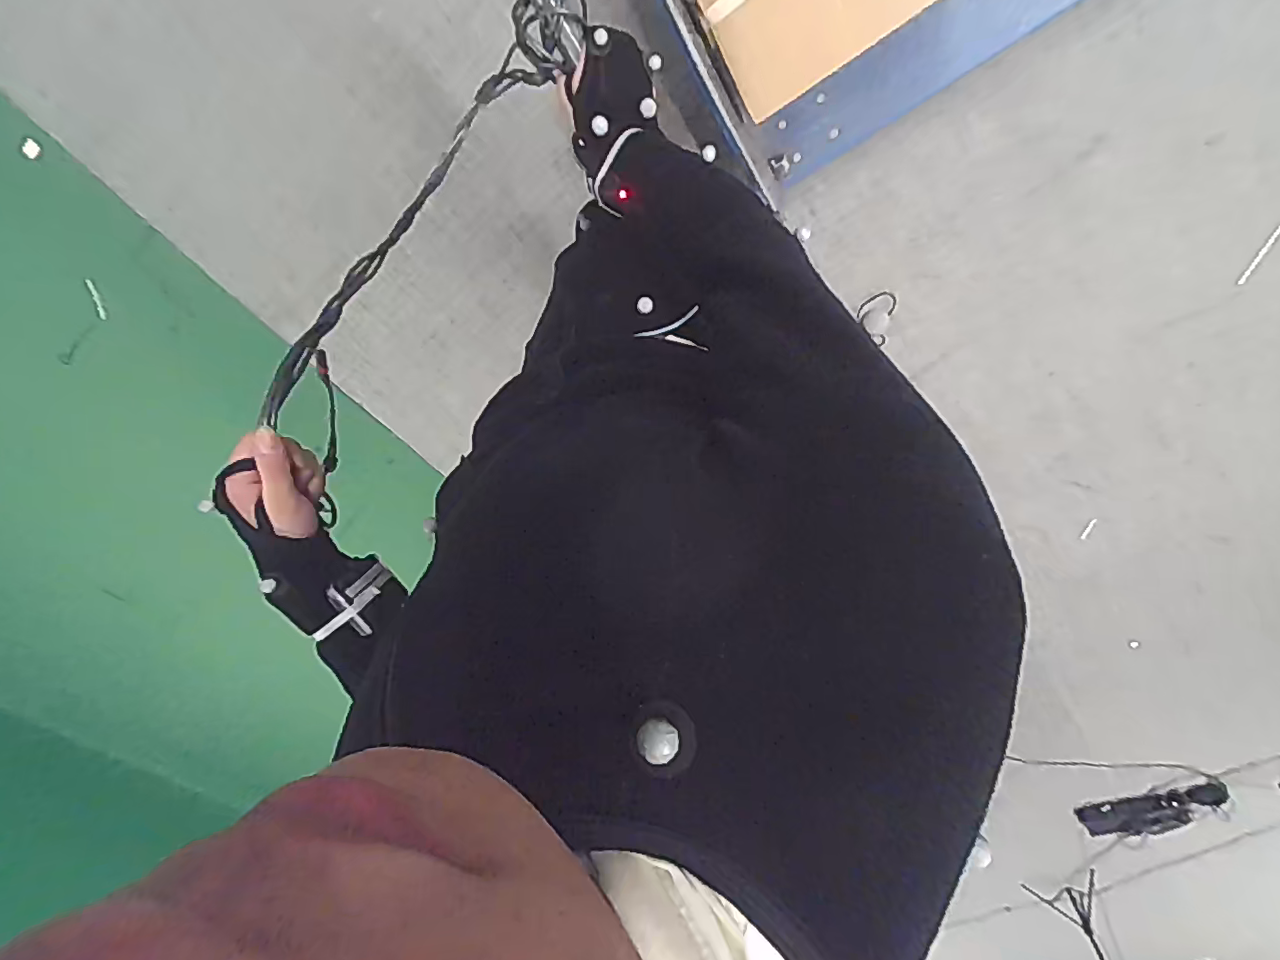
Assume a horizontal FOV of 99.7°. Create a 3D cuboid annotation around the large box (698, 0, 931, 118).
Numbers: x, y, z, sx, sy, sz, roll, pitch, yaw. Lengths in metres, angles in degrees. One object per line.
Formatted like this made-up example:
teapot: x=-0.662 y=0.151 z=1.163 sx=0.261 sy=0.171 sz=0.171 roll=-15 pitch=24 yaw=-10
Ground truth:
large box: x=0.281 y=-0.833 z=0.810 sx=0.408 sy=0.320 sz=0.320 roll=-22 pitch=122 yaw=26
